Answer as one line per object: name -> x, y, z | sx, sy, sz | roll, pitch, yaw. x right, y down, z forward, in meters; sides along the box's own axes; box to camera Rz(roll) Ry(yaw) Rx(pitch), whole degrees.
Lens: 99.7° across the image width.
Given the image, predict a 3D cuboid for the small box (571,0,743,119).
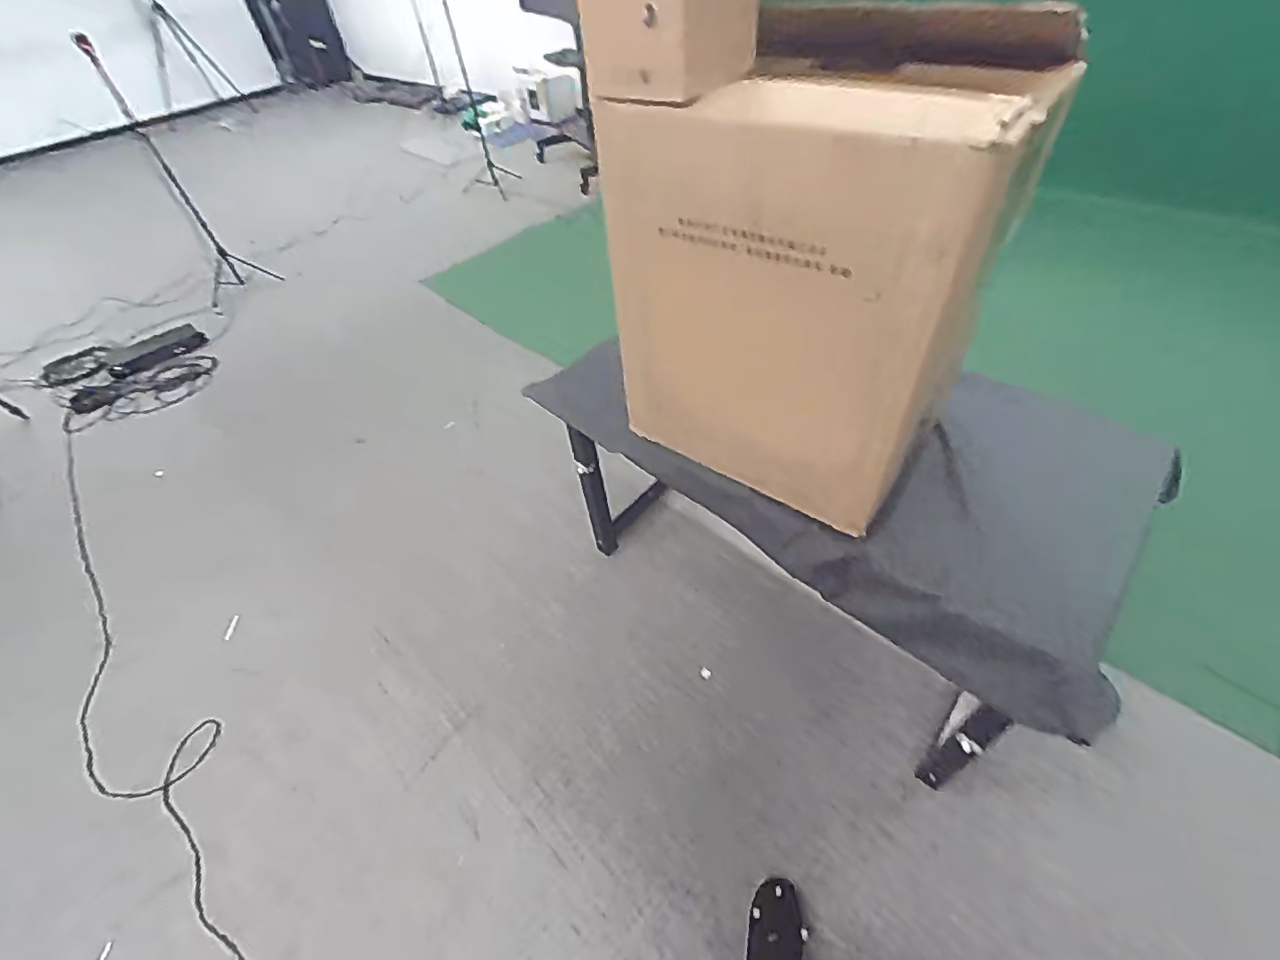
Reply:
small box -> 0.030, -0.603, 0.721 | 0.168, 0.176, 0.179 | 28, 56, 29
